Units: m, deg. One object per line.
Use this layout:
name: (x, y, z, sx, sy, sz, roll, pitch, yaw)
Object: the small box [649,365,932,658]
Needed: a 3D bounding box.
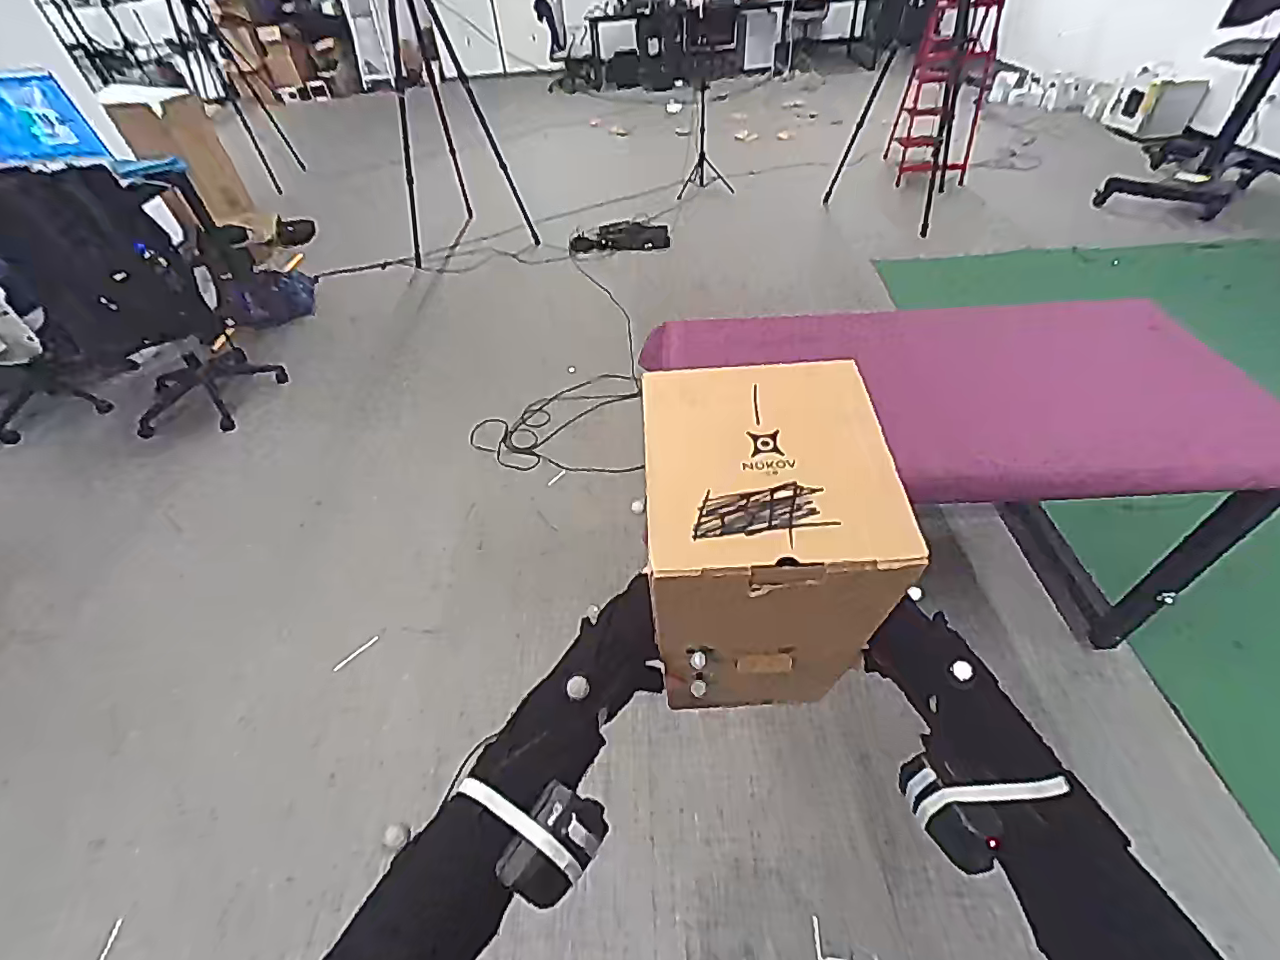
small box: (0.094, 0.031, 0.426, 0.168, 0.176, 0.179, 1, 55, 2)
